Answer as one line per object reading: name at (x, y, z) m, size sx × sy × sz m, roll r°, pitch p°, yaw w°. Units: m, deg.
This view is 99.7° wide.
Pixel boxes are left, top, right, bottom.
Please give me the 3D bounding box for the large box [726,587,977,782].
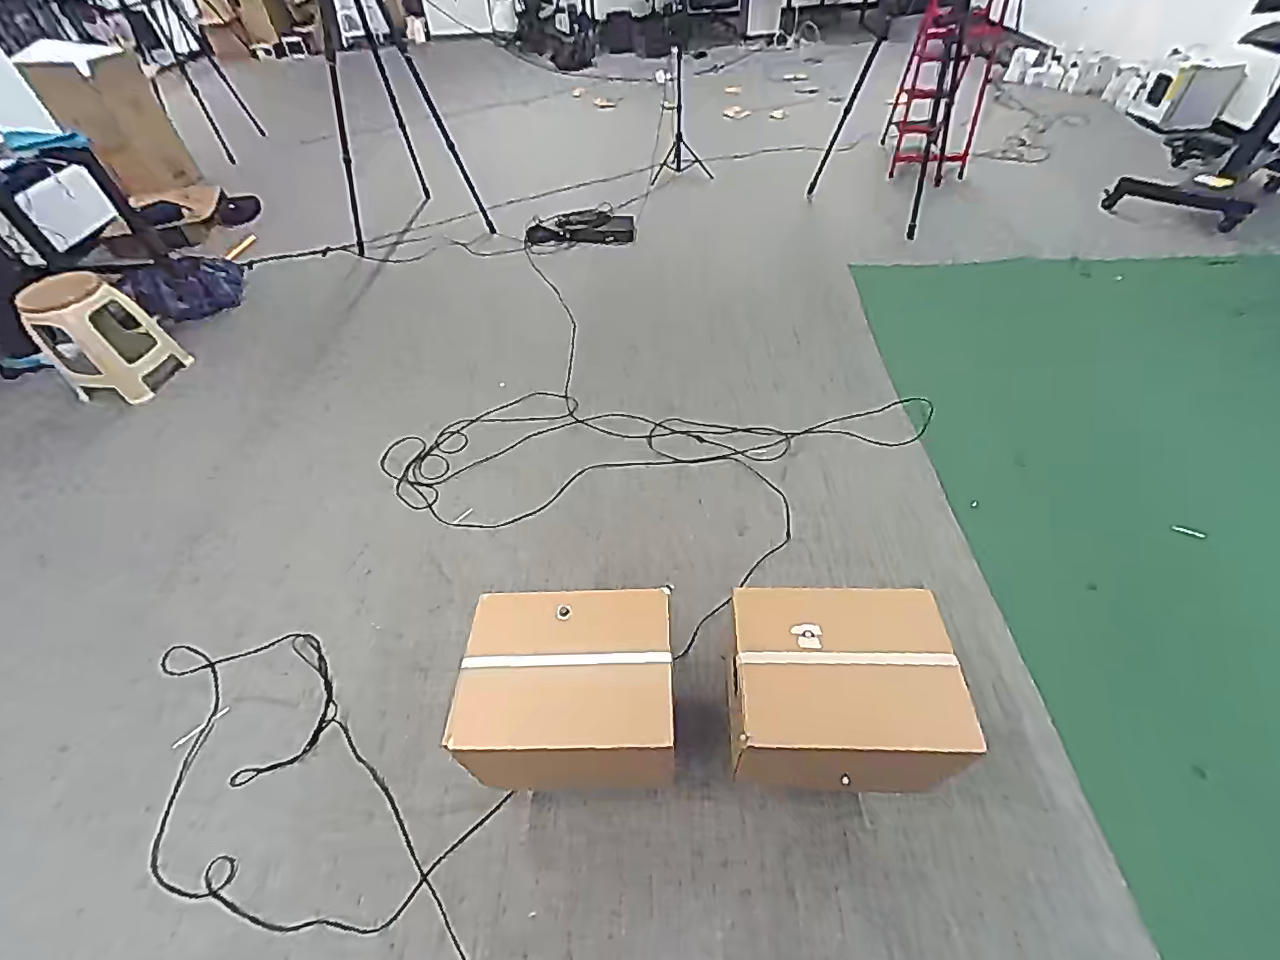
large box at (0.400, 0.439, 1.148) m, size 0.408 × 0.320 × 0.320 m, roll 0°, pitch 49°, yaw 4°
